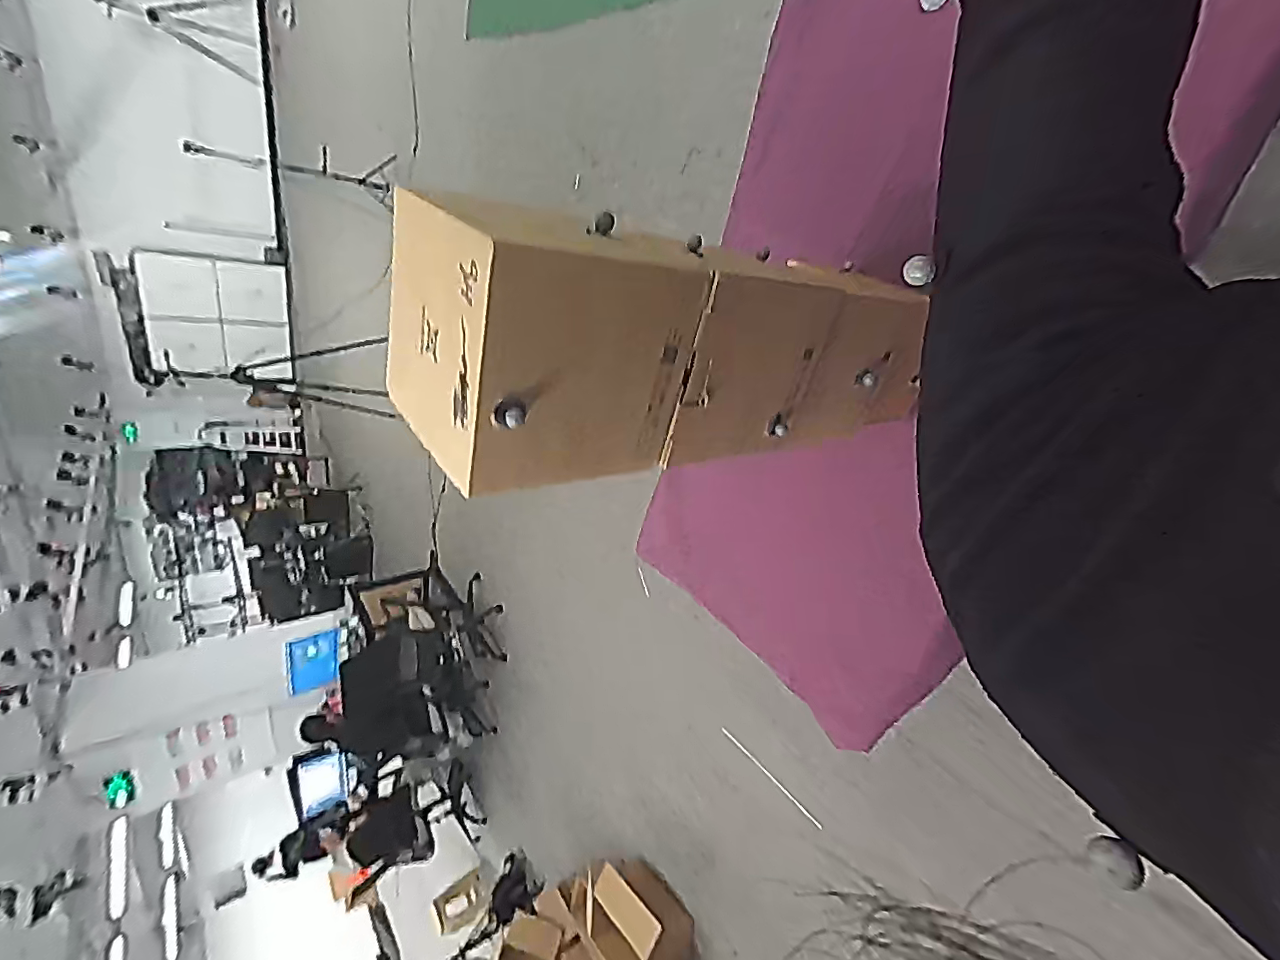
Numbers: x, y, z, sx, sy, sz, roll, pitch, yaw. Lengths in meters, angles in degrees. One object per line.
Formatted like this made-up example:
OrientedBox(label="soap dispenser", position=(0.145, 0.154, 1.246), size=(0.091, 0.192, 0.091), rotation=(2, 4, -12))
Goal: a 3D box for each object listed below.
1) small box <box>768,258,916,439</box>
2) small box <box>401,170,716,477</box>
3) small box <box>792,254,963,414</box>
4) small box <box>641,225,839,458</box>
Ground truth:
OrientedBox(label="small box", position=(0.177, -0.162, 0.632), size=(0.179, 0.176, 0.168), rotation=(39, 127, 39))
OrientedBox(label="small box", position=(-0.073, -0.121, 0.424), size=(0.179, 0.176, 0.168), rotation=(42, 128, 39))
OrientedBox(label="small box", position=(0.294, -0.194, 0.742), size=(0.179, 0.176, 0.168), rotation=(40, 127, 38))
OrientedBox(label="small box", position=(0.056, -0.140, 0.522), size=(0.179, 0.176, 0.168), rotation=(41, 127, 40))
